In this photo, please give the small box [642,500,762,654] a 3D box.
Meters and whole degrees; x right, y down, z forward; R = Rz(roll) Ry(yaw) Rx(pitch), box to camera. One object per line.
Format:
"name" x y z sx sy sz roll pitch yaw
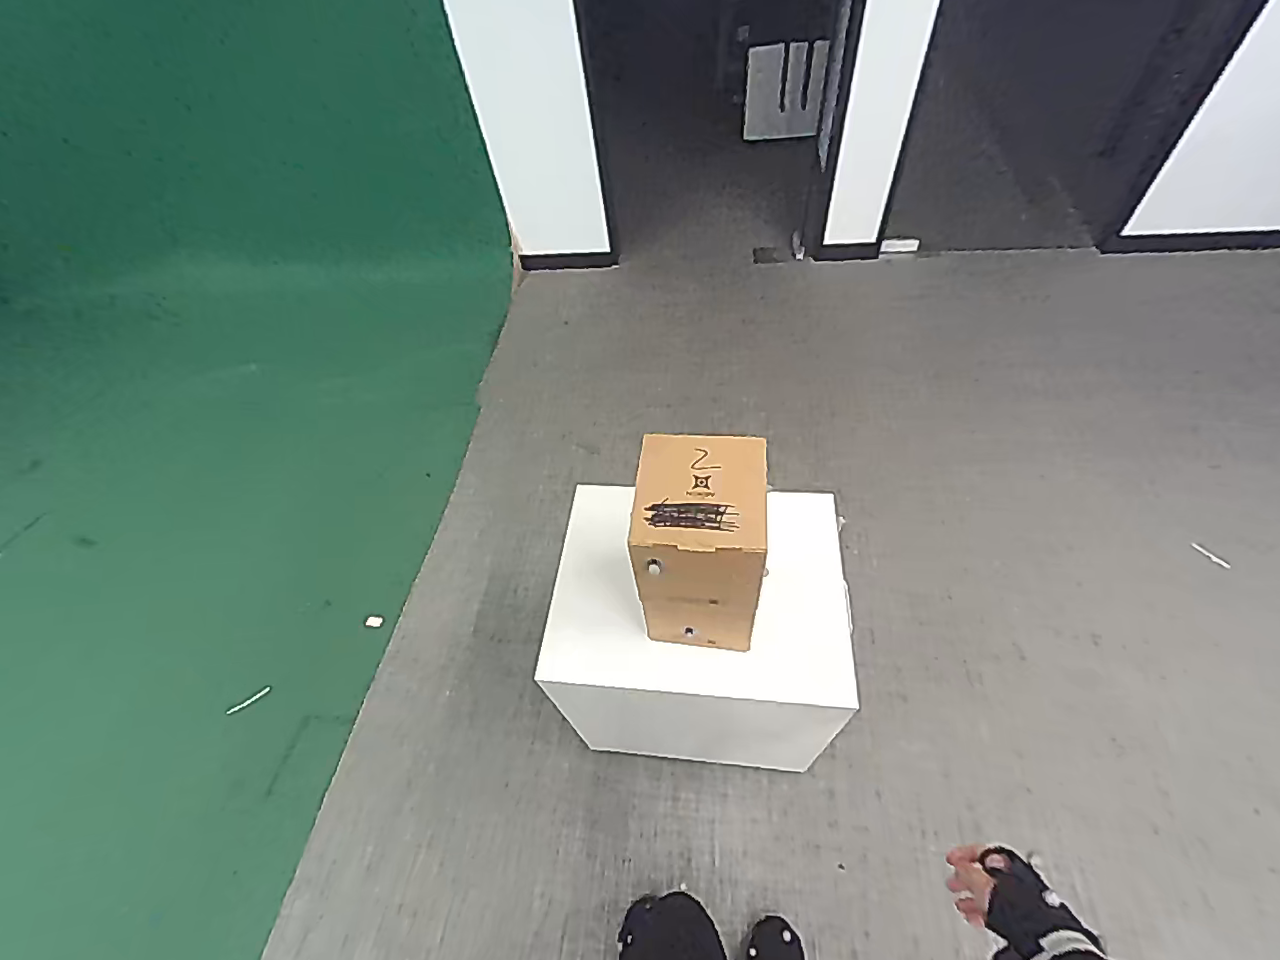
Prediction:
"small box" 0.102 0.155 0.865 0.168 0.176 0.179 4 52 10
